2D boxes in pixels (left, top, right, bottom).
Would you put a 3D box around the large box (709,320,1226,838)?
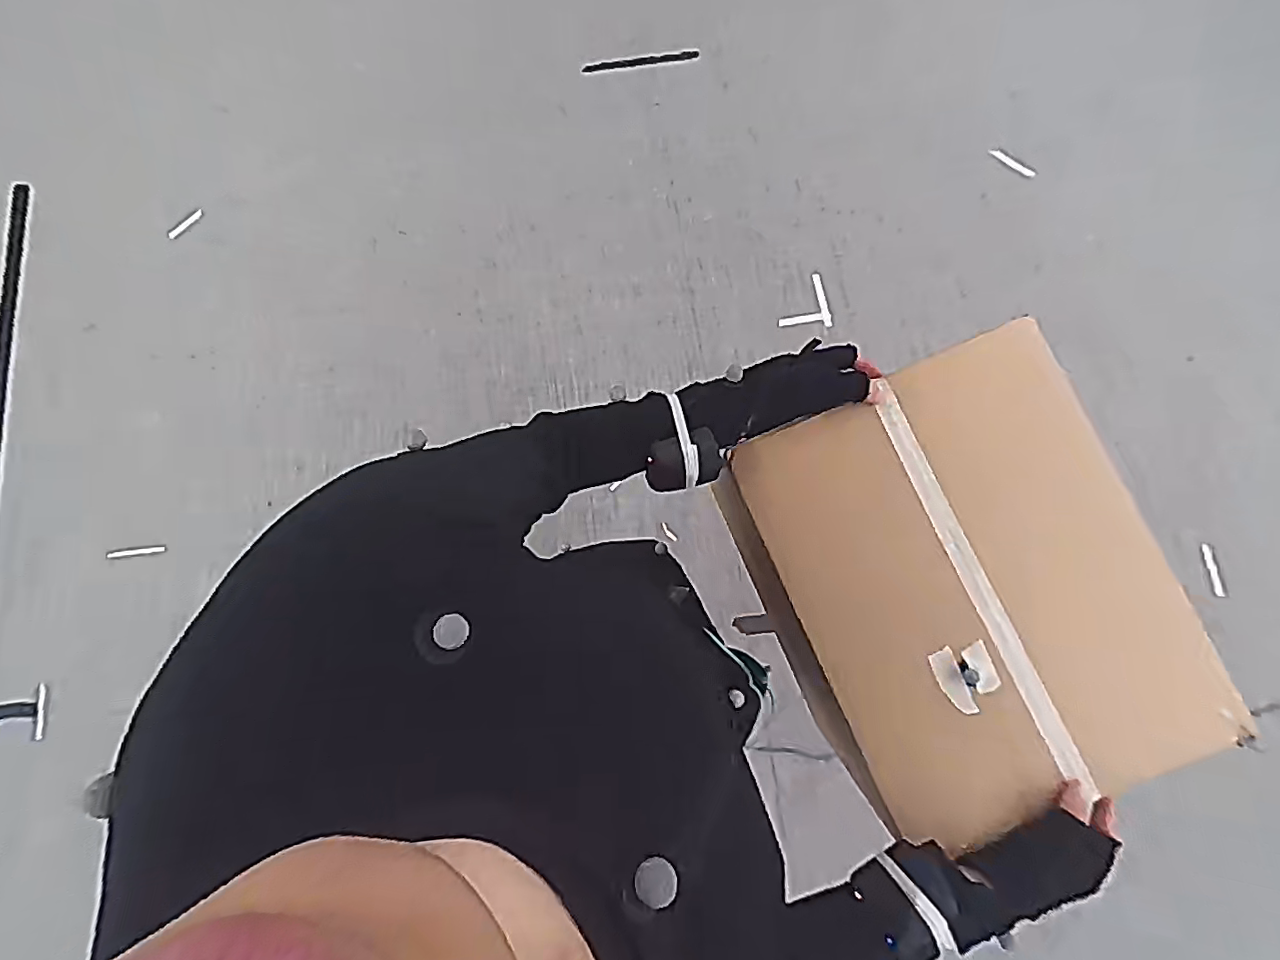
[{"bbox_3d":[0.311,0.095,0.650,0.320,0.320,0.408,-24,85,2],"label":"large box"}]
